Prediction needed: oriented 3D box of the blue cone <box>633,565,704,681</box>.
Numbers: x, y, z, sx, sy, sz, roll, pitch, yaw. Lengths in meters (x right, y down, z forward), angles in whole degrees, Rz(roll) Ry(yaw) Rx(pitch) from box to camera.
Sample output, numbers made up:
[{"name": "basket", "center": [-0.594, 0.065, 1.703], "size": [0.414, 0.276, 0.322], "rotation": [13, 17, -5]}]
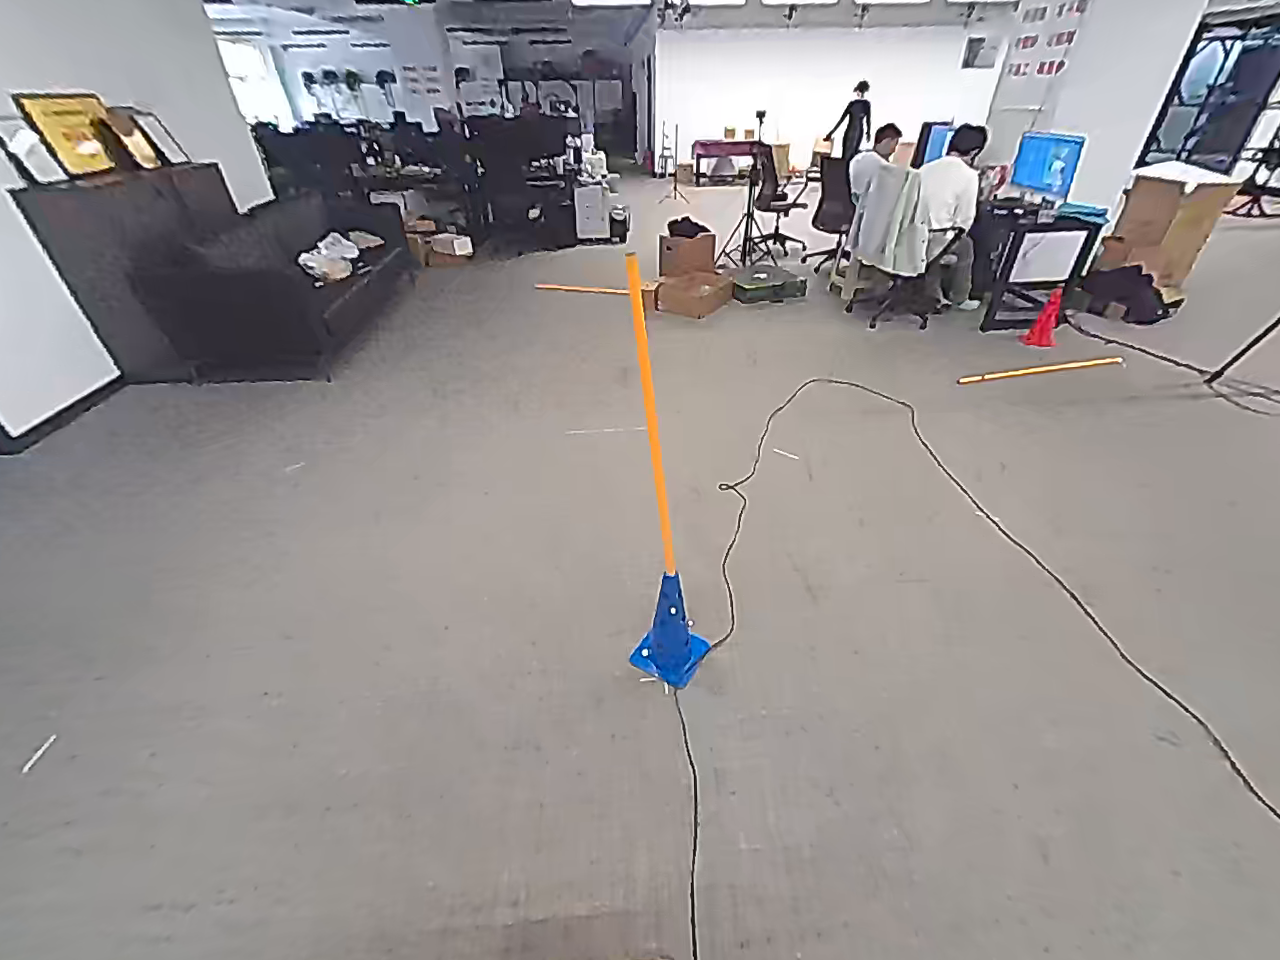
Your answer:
[{"name": "blue cone", "center": [0.087, 0.404, 1.615], "size": [0.192, 0.380, 0.193], "rotation": [17, 40, 25]}]
